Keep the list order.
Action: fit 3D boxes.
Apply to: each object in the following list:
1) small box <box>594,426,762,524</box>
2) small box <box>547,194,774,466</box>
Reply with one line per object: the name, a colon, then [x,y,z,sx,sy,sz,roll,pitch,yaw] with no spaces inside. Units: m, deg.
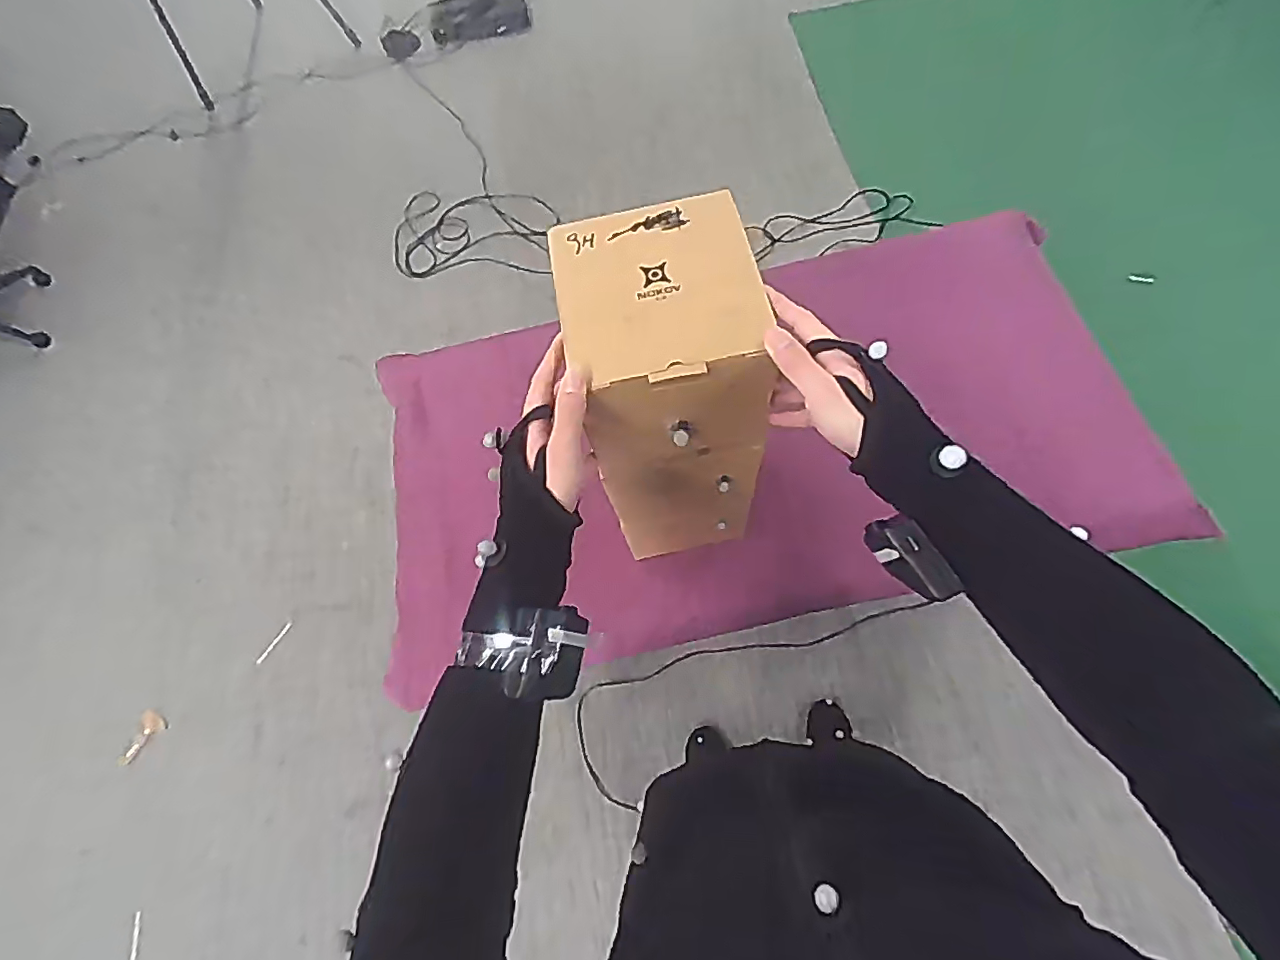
small box: [0.036,-0.060,0.662,0.179,0.176,0.168,-13,66,2]
small box: [0.019,-0.126,0.514,0.168,0.176,0.179,-11,67,2]
